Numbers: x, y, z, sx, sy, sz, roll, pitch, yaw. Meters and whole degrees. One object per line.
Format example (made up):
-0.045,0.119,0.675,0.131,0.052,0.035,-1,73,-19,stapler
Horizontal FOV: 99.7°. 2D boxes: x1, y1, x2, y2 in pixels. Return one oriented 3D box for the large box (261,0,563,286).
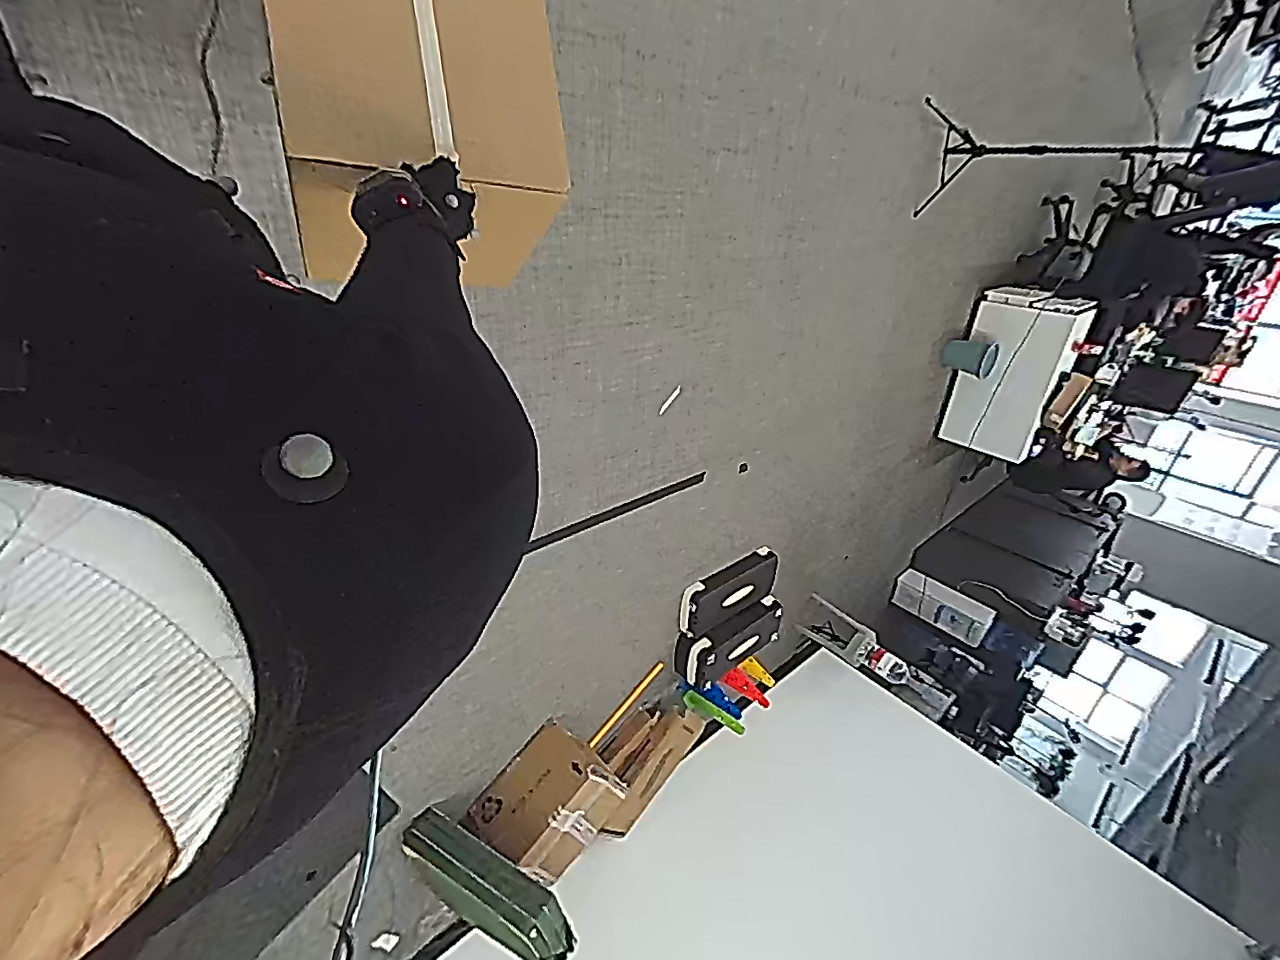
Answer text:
-0.338,-0.532,0.774,0.320,0.320,0.408,-9,89,-30,large box
